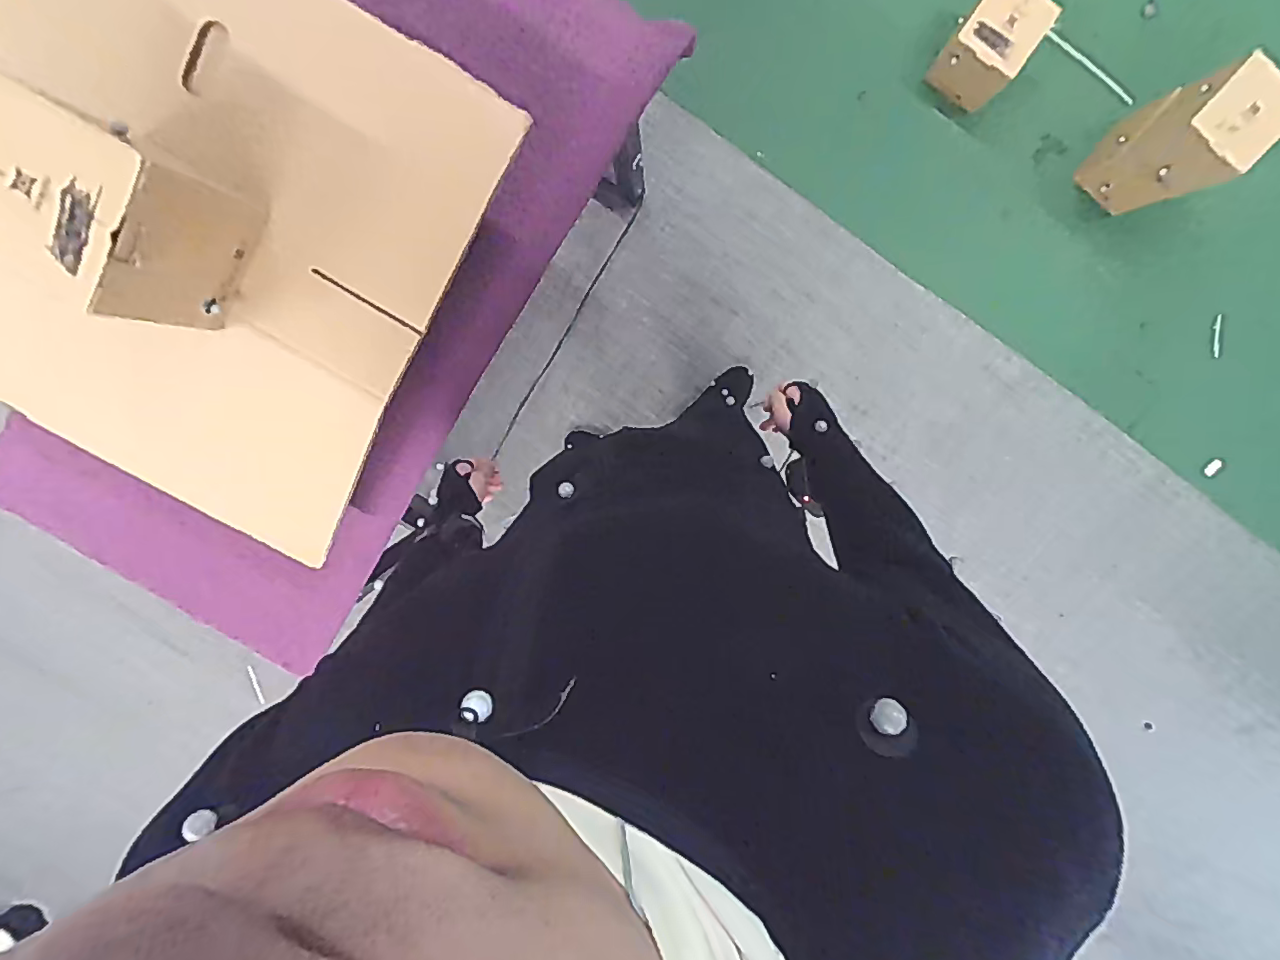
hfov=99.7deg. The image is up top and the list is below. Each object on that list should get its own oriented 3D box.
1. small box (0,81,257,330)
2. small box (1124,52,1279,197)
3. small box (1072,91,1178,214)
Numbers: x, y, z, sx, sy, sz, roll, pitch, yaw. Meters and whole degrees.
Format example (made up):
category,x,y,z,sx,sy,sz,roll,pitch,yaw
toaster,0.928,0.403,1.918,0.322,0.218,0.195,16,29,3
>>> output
category,x,y,z,sx,sy,sz,roll,pitch,yaw
small box,-0.571,-0.277,0.586,0.179,0.176,0.168,30,98,-4
small box,1.248,-0.770,1.195,0.168,0.176,0.179,39,100,-6
small box,1.253,-0.808,1.355,0.168,0.176,0.179,37,100,-6
